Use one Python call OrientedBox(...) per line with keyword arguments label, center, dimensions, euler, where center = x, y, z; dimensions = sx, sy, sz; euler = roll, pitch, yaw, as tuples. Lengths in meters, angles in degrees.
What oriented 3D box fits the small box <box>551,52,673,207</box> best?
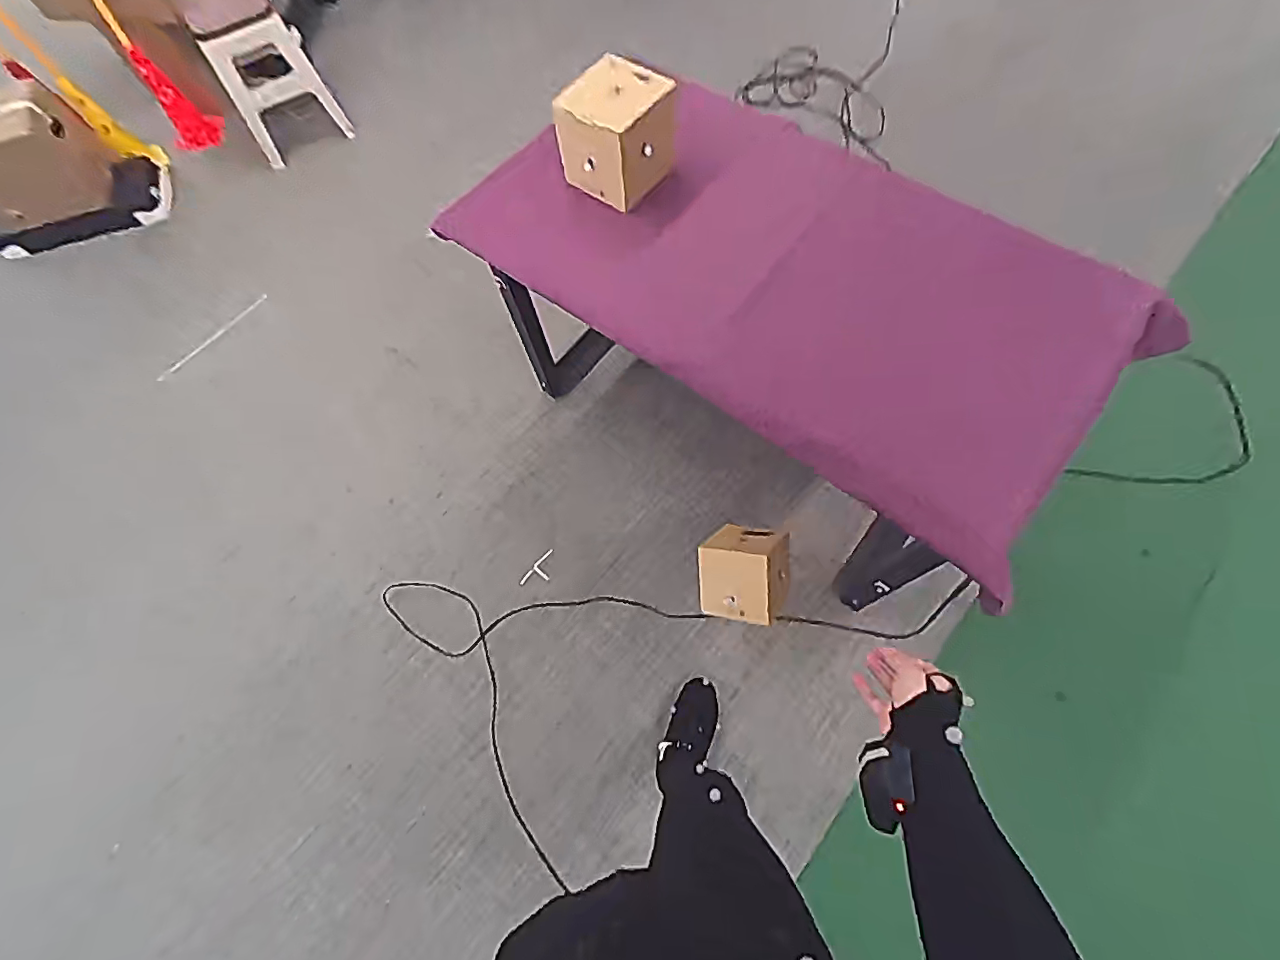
OrientedBox(label="small box", center=(-0.045, -0.683, 1.069), dimensions=(0.168, 0.176, 0.179), euler=(35, 75, 16))
